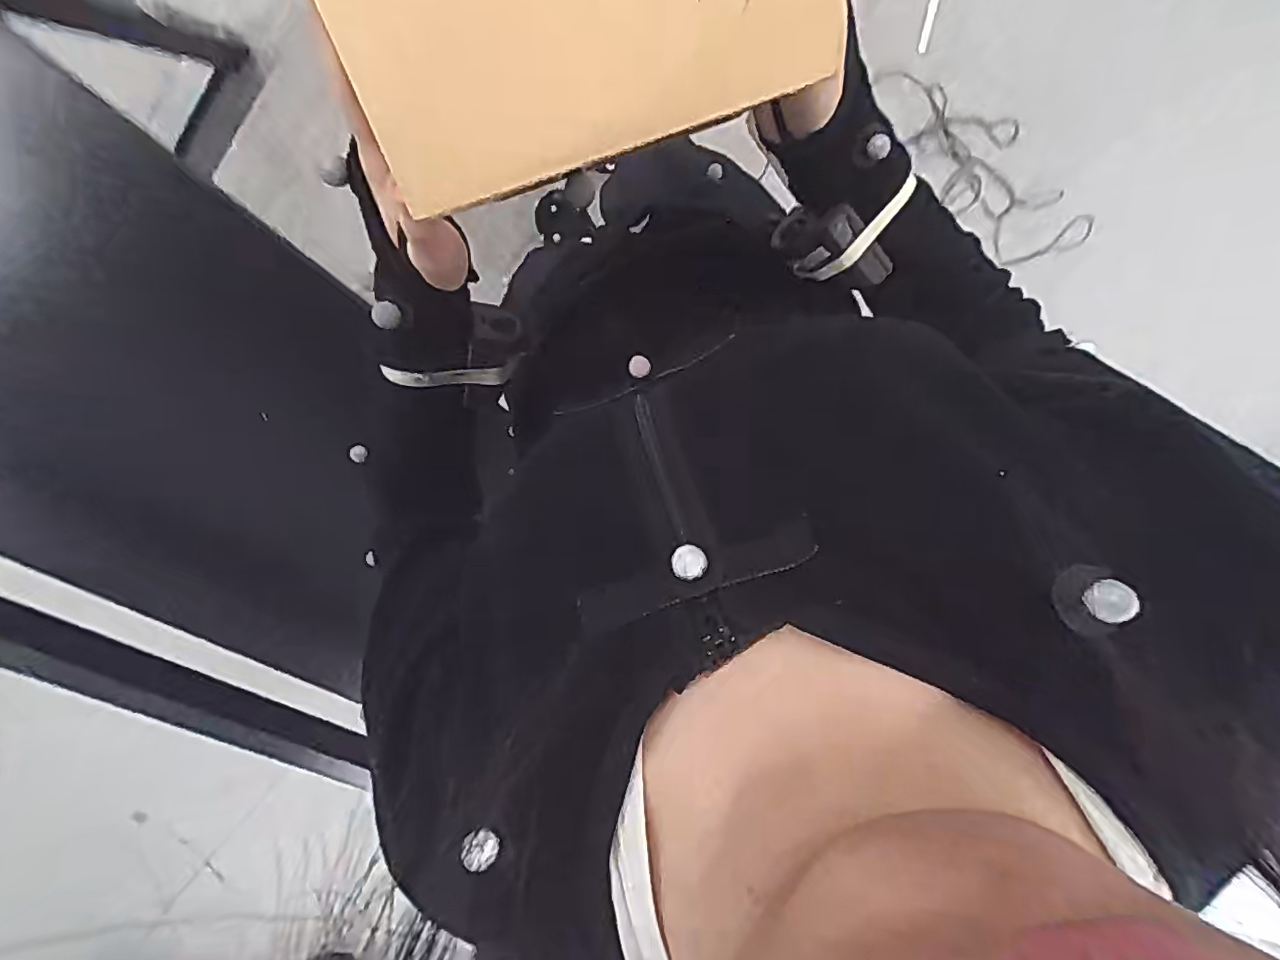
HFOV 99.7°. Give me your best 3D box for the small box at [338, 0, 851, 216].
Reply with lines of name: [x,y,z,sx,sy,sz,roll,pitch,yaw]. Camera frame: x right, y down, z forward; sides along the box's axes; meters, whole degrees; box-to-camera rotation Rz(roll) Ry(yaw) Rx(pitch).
small box: [-0.028,-0.233,0.228,0.168,0.176,0.179,-16,118,6]
